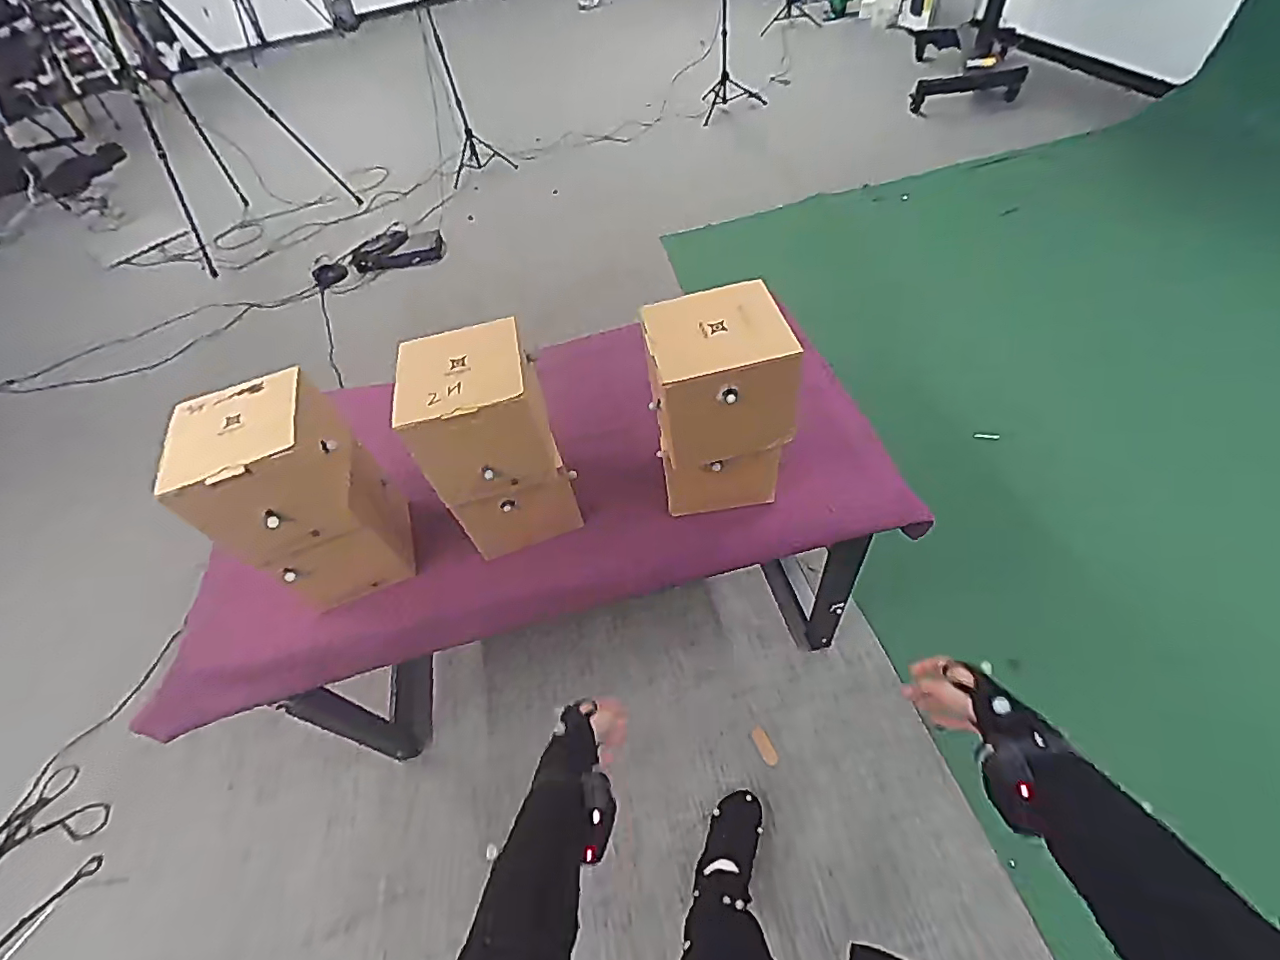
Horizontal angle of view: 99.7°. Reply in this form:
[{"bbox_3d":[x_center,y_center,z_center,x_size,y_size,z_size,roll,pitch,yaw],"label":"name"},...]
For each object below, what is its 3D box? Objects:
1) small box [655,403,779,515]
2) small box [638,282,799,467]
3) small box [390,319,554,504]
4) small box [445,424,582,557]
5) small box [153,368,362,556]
[{"bbox_3d":[0.122,-0.061,0.891,0.179,0.176,0.168,-8,50,5],"label":"small box"},{"bbox_3d":[0.105,-0.139,0.745,0.179,0.176,0.168,-12,51,1],"label":"small box"},{"bbox_3d":[-0.227,-0.094,0.763,0.168,0.176,0.179,-14,52,-2],"label":"small box"},{"bbox_3d":[-0.212,0.003,0.896,0.179,0.176,0.168,-19,52,-7],"label":"small box"},{"bbox_3d":[-0.506,-0.017,0.746,0.168,0.176,0.179,-20,52,-8],"label":"small box"}]
